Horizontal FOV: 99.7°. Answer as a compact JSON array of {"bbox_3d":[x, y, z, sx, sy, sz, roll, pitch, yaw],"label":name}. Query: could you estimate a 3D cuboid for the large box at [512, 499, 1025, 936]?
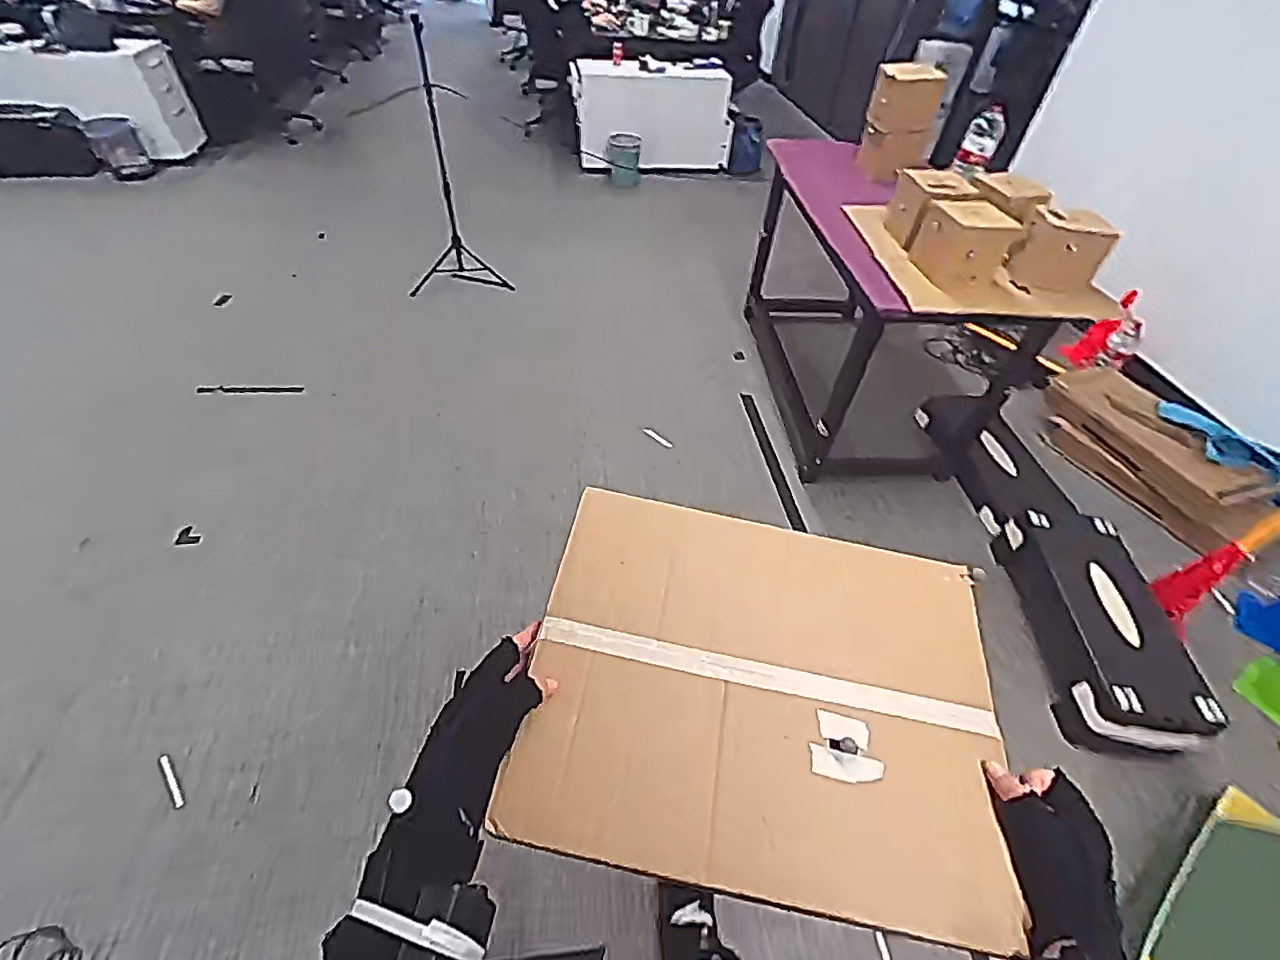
[{"bbox_3d":[0.104,0.262,0.611,0.408,0.320,0.320,12,56,2],"label":"large box"}]
